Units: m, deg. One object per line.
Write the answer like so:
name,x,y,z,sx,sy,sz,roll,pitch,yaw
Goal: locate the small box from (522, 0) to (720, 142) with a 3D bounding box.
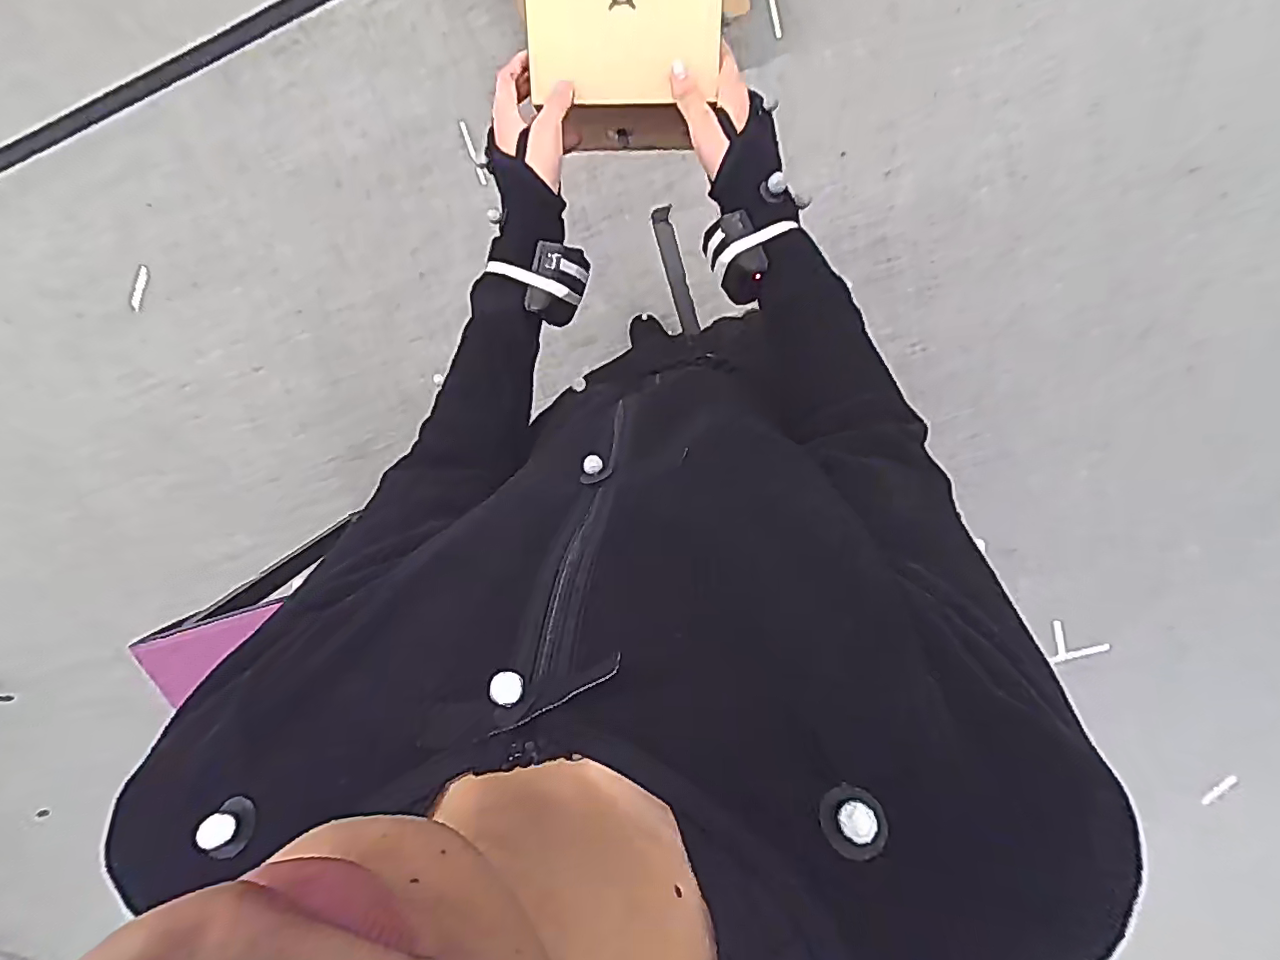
small box,-0.012,-0.434,0.509,0.168,0.176,0.179,0,109,1
